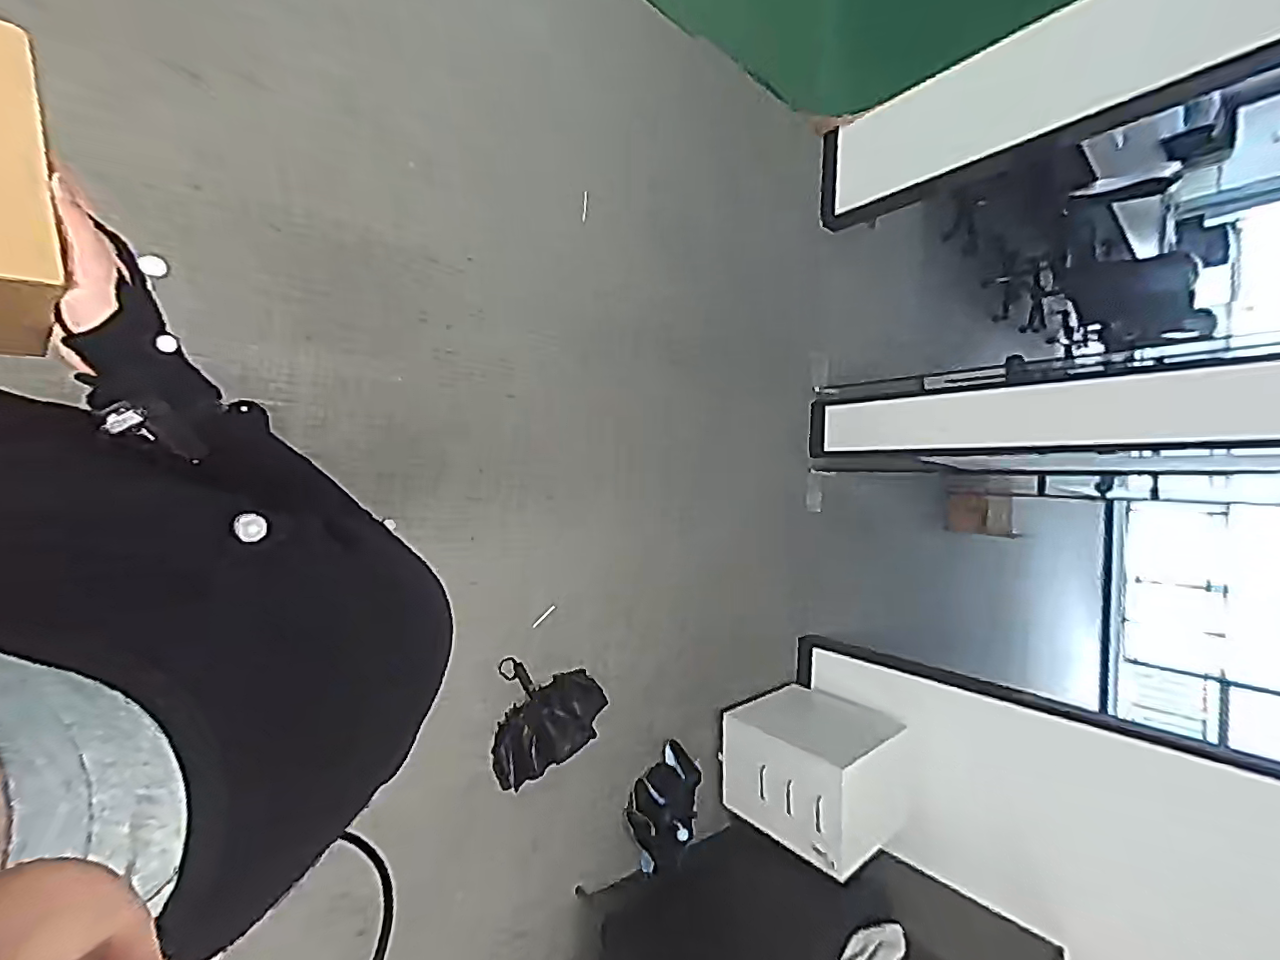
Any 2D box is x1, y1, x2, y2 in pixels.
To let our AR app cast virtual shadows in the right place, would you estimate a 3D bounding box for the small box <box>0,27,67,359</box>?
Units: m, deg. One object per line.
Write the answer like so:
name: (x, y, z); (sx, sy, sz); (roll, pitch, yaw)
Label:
small box: (-0.503, -0.190, 0.342); (0.168, 0.176, 0.179); (-9, 90, -52)
